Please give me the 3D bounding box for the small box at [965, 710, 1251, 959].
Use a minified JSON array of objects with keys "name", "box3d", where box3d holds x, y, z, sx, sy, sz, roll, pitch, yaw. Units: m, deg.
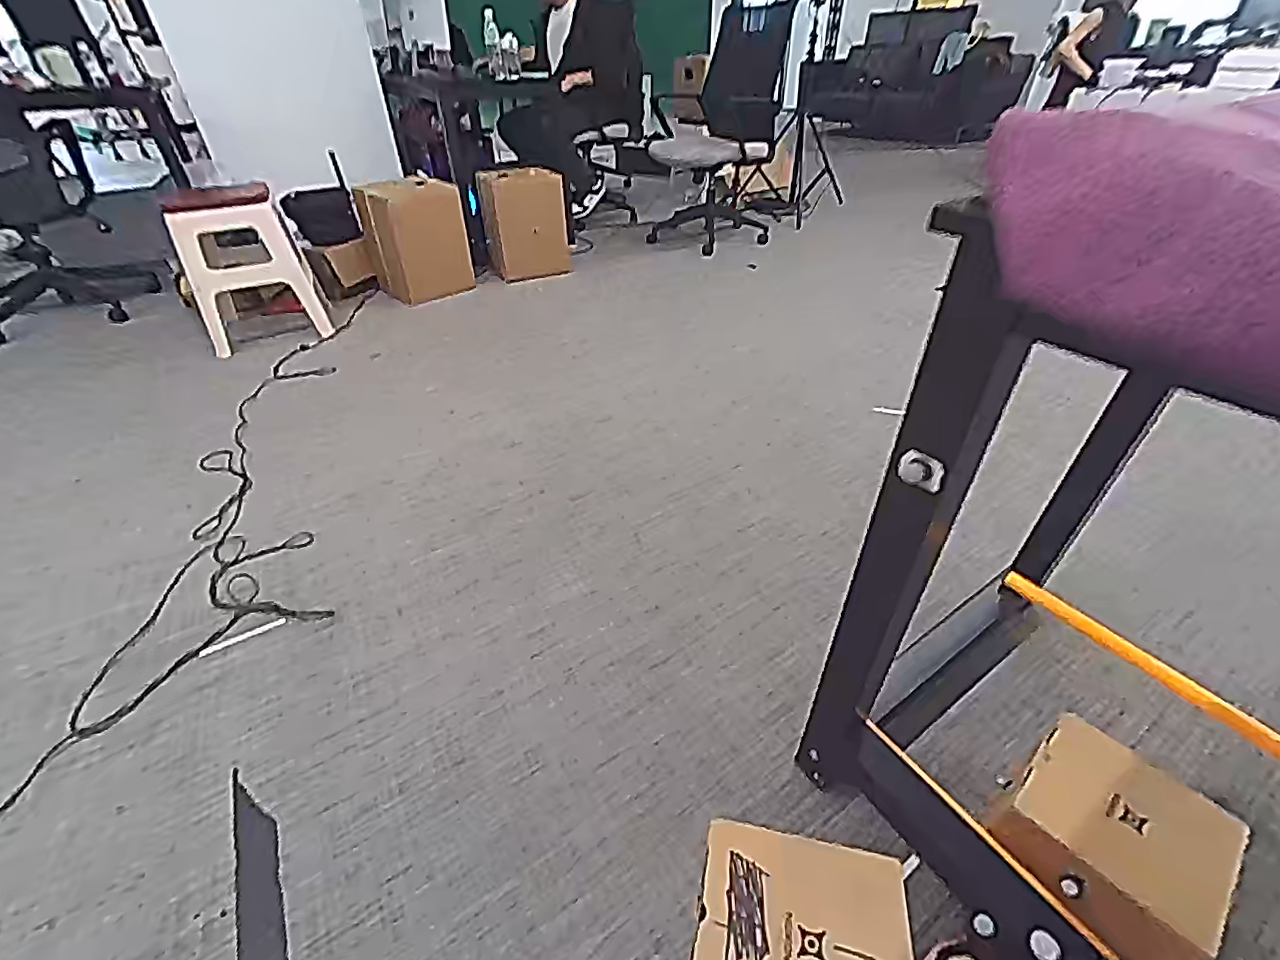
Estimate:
[{"name":"small box","box3d":[0.521,0.417,0.623,0.168,0.176,0.179,-28,45,-30]}]
